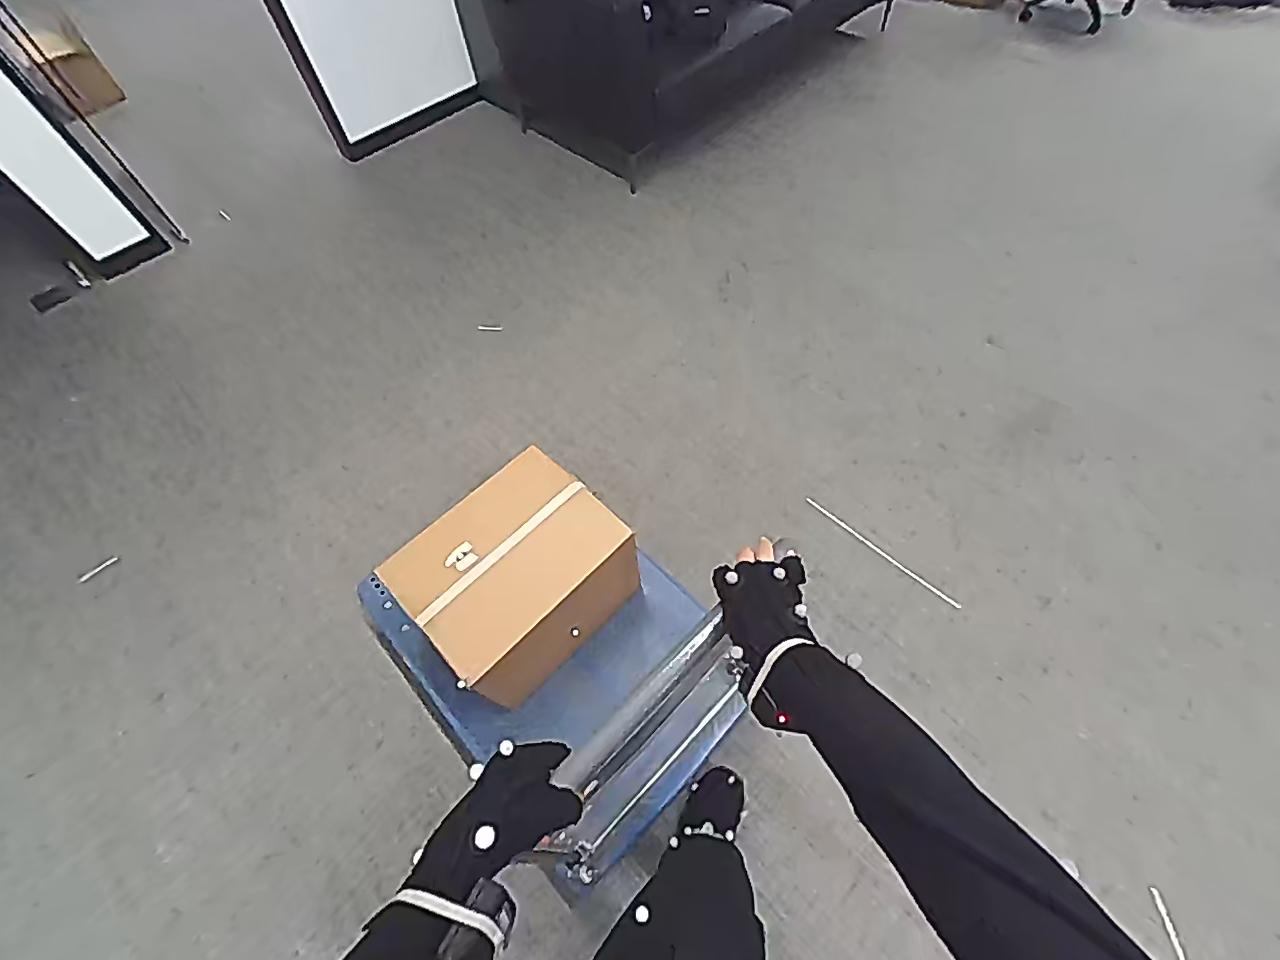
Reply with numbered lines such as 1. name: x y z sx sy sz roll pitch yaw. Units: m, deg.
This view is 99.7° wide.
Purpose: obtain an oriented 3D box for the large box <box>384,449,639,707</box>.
1. large box: -0.247 0.218 1.184 0.320 0.320 0.408 39 69 23
